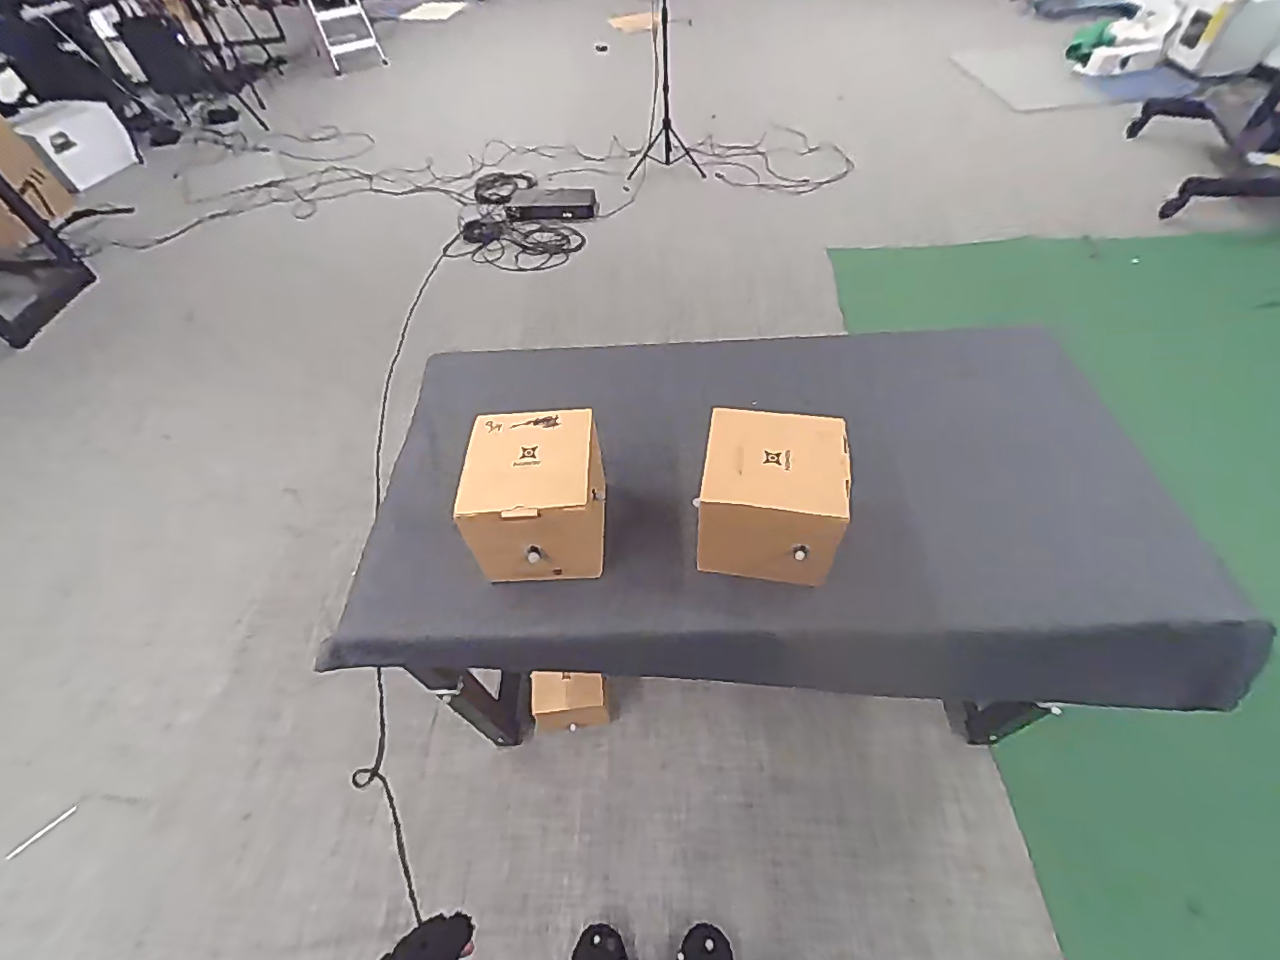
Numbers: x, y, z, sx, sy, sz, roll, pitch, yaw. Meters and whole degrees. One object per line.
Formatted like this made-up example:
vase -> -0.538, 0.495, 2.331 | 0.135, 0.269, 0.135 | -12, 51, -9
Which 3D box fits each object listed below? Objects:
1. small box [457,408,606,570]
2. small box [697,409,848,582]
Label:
small box -> -0.139, 0.019, 0.771 | 0.168, 0.176, 0.179 | -2, 52, 2
small box -> 0.177, 0.026, 0.748 | 0.179, 0.176, 0.168 | 6, 52, 10
